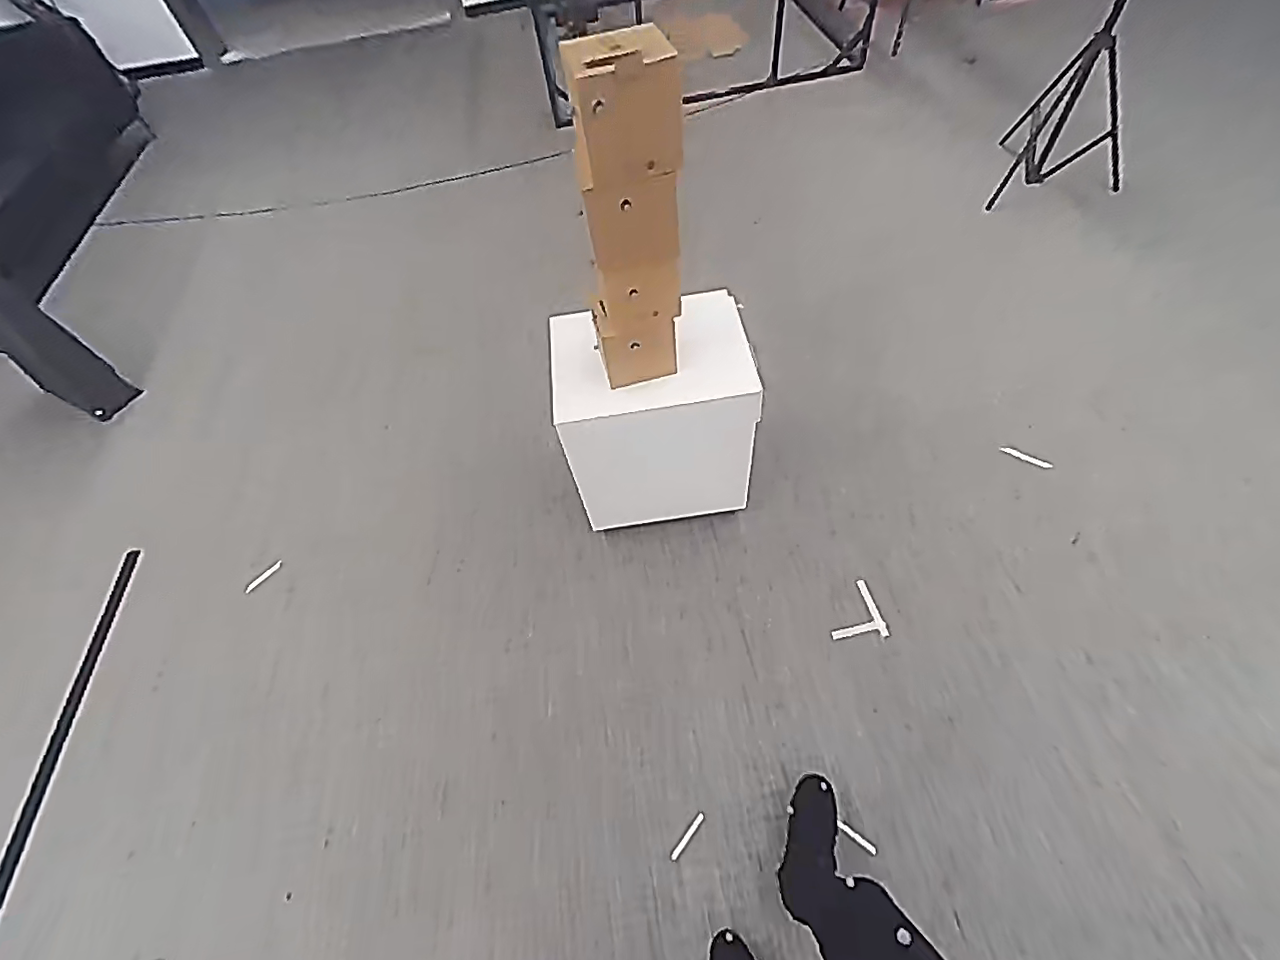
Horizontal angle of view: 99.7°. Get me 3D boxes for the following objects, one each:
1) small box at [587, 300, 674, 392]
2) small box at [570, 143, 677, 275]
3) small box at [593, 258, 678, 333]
[{"bbox_3d":[-0.020,-0.342,1.343,0.179,0.176,0.168,-15,56,-4],"label":"small box"},{"bbox_3d":[-0.030,-0.532,1.076,0.179,0.176,0.168,-12,56,-1],"label":"small box"},{"bbox_3d":[-0.014,-0.451,1.219,0.168,0.176,0.179,-14,55,-3],"label":"small box"}]
